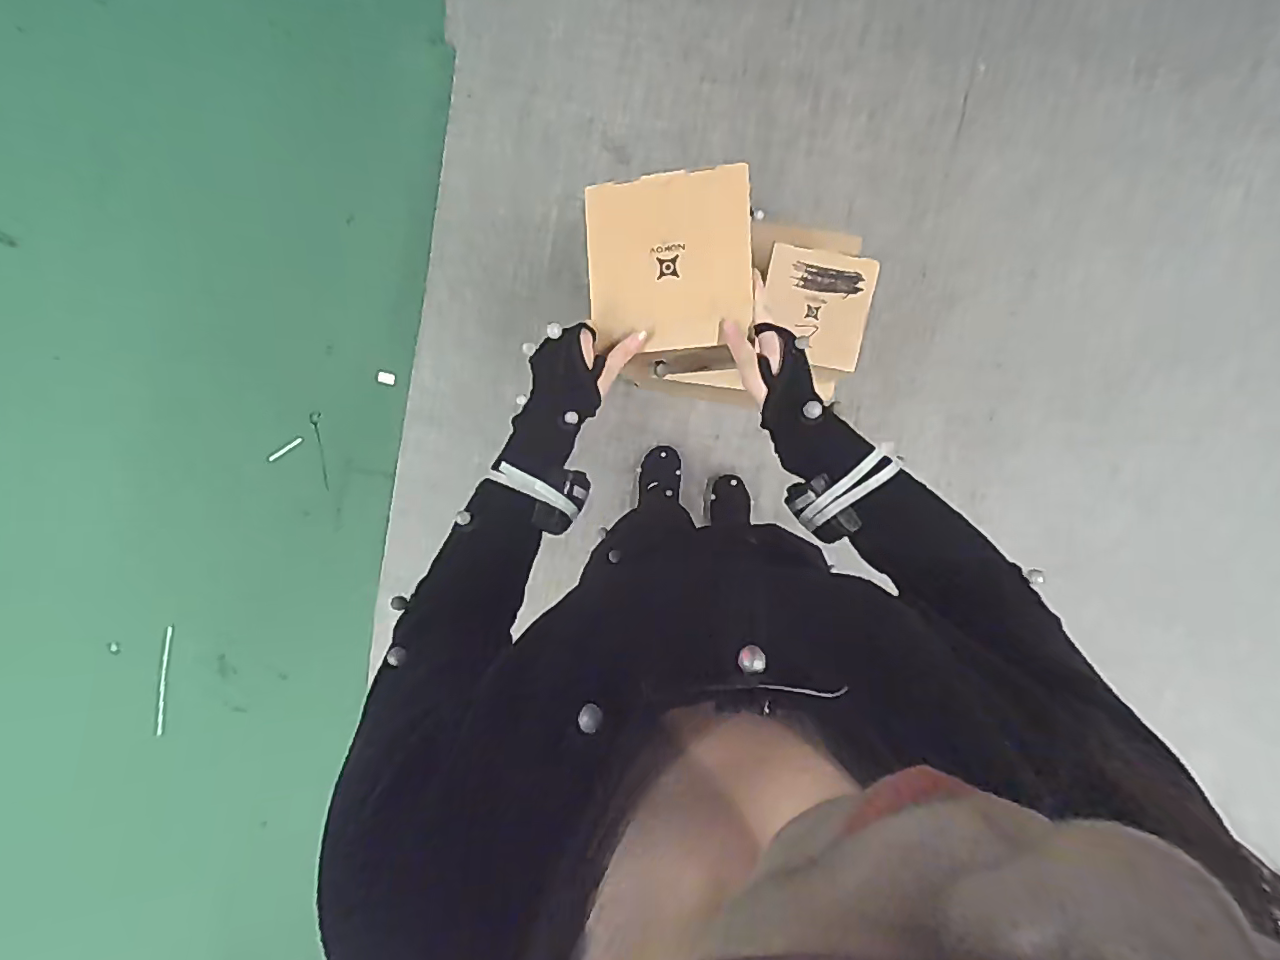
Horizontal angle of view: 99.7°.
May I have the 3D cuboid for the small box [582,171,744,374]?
[{"bbox_3d":[0.036,-0.222,0.631,0.168,0.176,0.179,-2,92,10],"label":"small box"}]
